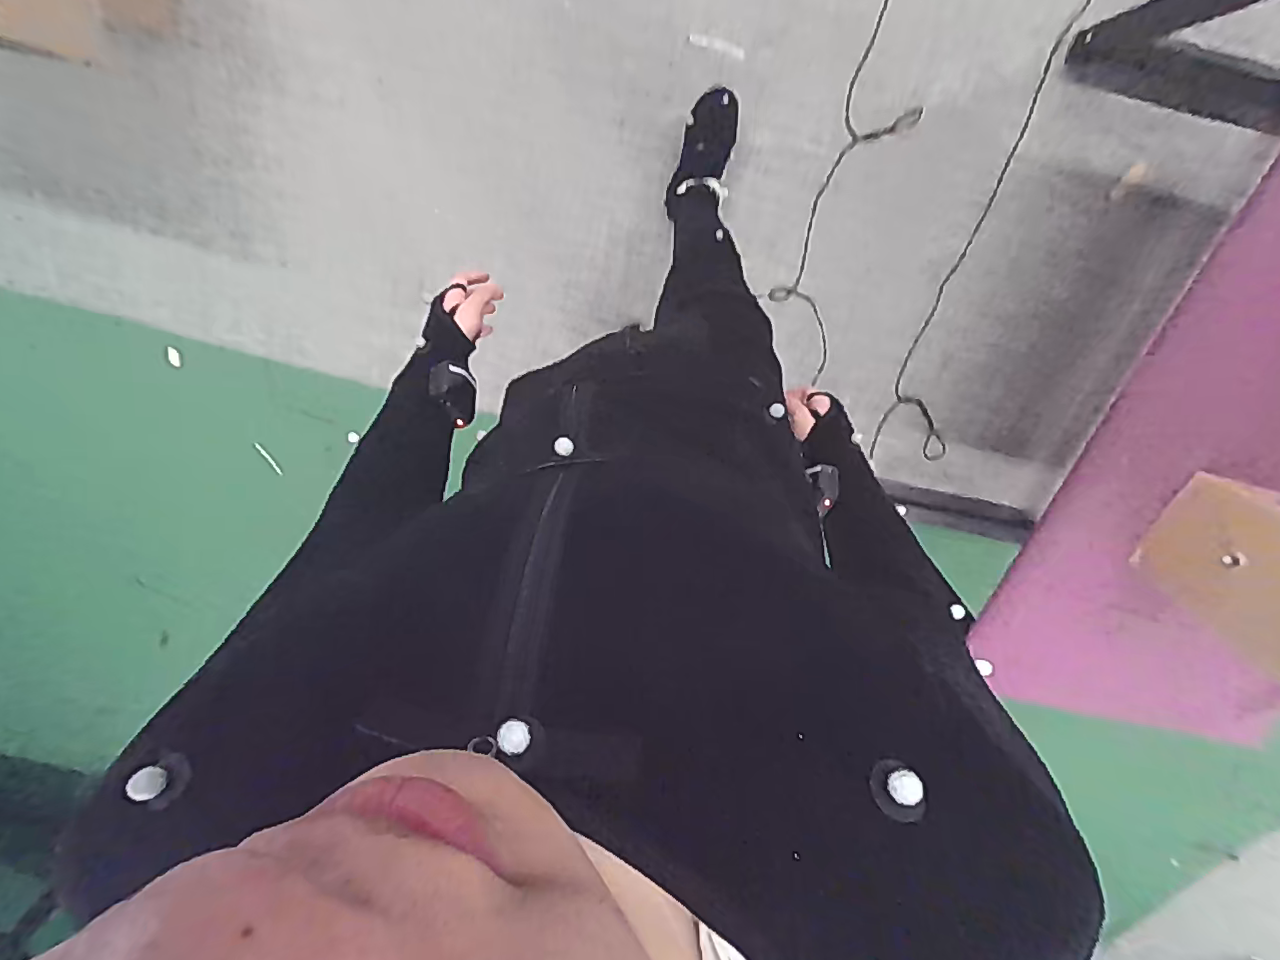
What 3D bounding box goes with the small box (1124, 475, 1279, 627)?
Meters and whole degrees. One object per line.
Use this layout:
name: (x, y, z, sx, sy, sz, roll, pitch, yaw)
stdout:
small box: (0.898, 0.113, 0.807, 0.168, 0.176, 0.179, 15, 116, -5)
